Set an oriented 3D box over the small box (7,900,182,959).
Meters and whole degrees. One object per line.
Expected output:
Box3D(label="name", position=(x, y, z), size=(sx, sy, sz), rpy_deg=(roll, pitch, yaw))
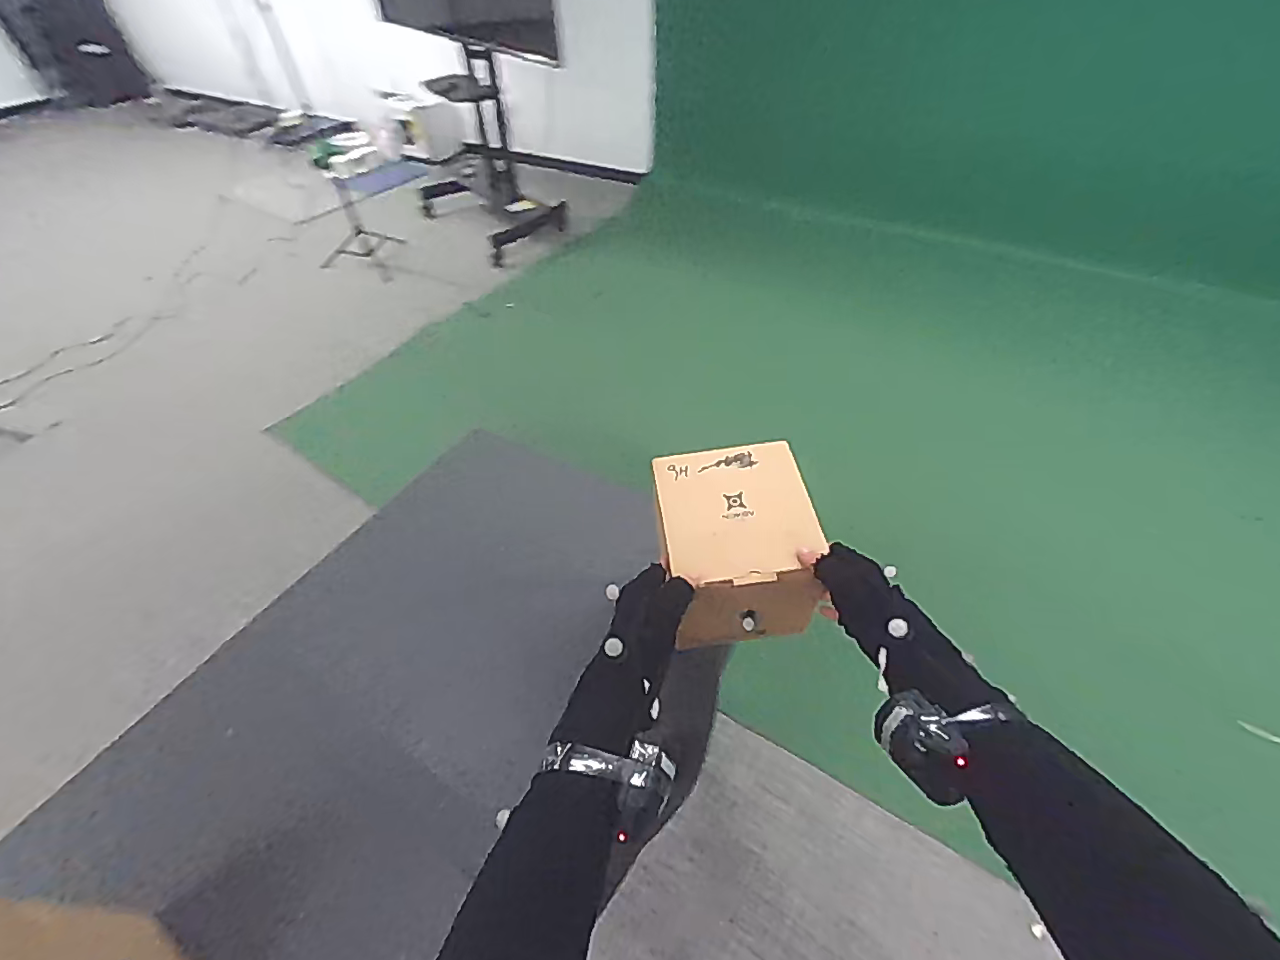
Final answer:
Box3D(label="small box", position=(-0.508, 0.499, 0.451), size=(0.179, 0.176, 0.168), rpy_deg=(23, 52, 23))
